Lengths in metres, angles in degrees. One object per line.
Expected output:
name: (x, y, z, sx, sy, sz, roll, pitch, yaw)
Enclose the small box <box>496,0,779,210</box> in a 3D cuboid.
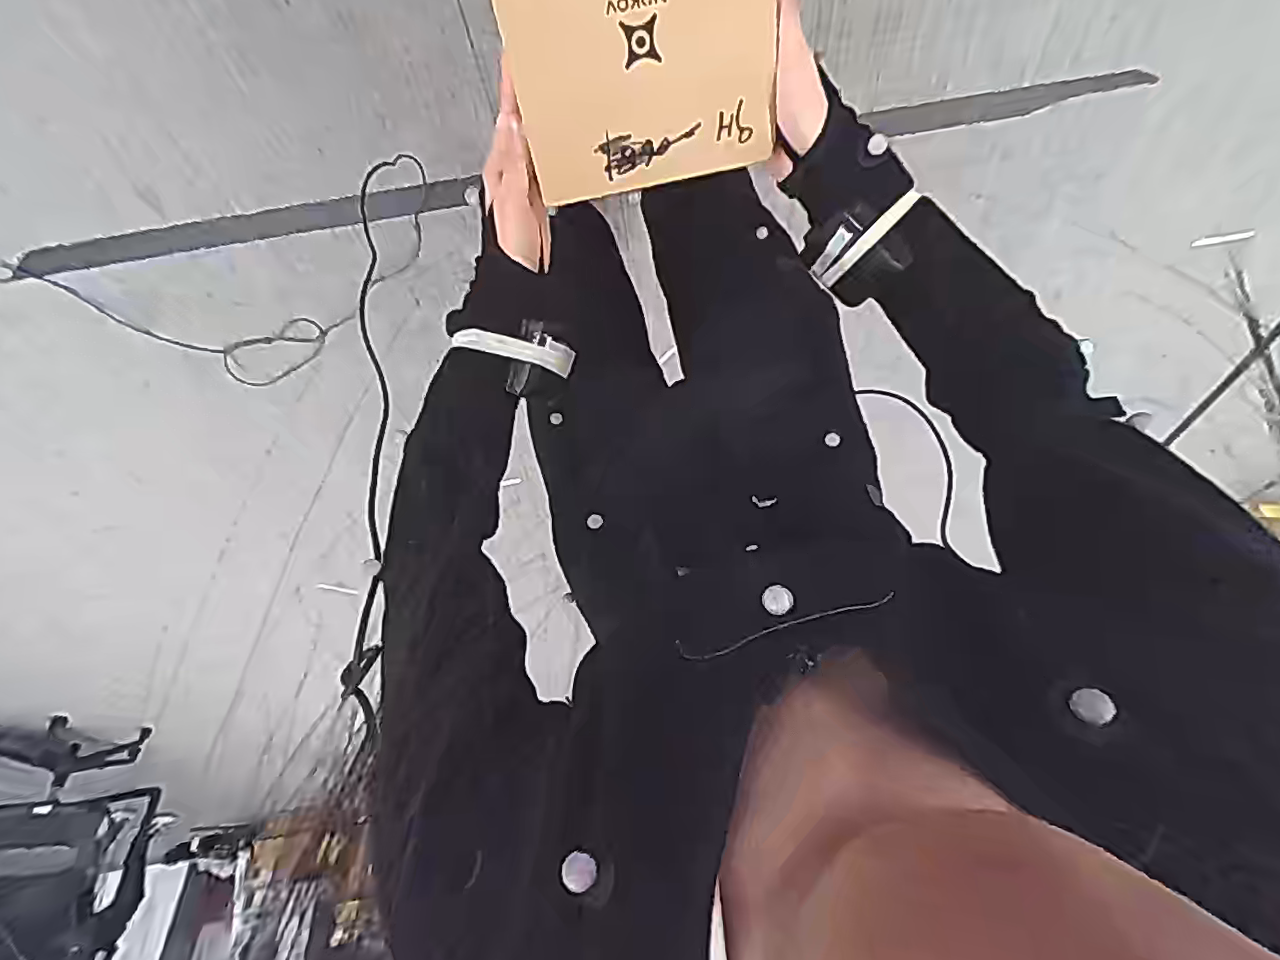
small box: (-0.010, -0.315, 0.379, 0.168, 0.176, 0.179, -12, 130, 0)
